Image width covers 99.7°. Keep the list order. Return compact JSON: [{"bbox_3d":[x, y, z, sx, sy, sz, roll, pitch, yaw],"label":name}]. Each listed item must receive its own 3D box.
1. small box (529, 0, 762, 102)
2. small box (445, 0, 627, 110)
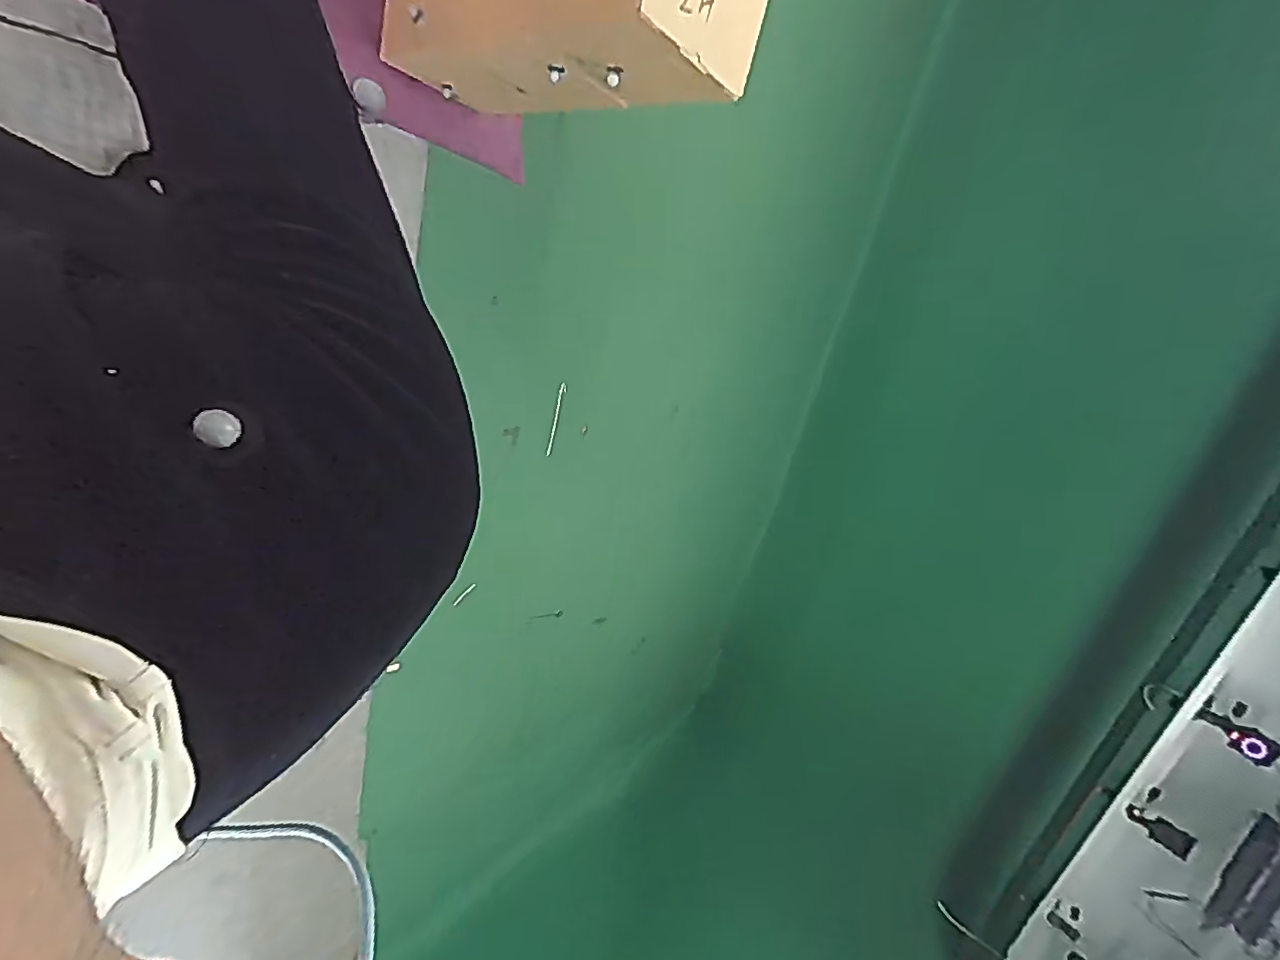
[{"bbox_3d":[0.011,-0.508,0.535,0.168,0.176,0.179,-5,117,-49],"label":"small box"},{"bbox_3d":[-0.108,-0.567,0.633,0.168,0.176,0.179,-4,115,-49],"label":"small box"}]
